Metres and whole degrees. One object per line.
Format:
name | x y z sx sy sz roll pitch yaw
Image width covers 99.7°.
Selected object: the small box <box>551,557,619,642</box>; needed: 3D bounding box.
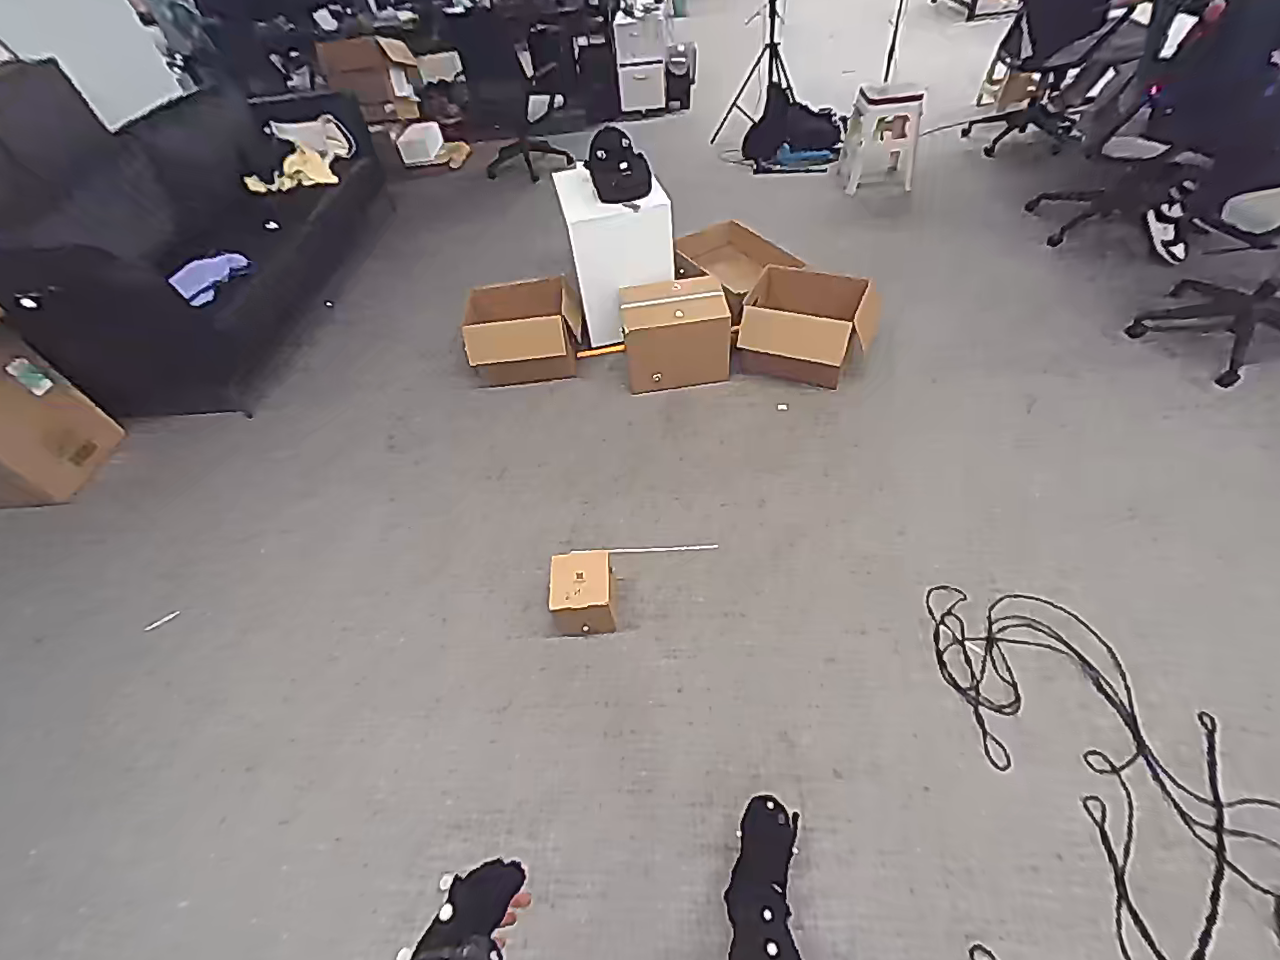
small box | -0.154 0.343 1.551 0.168 0.176 0.179 -6 48 3
